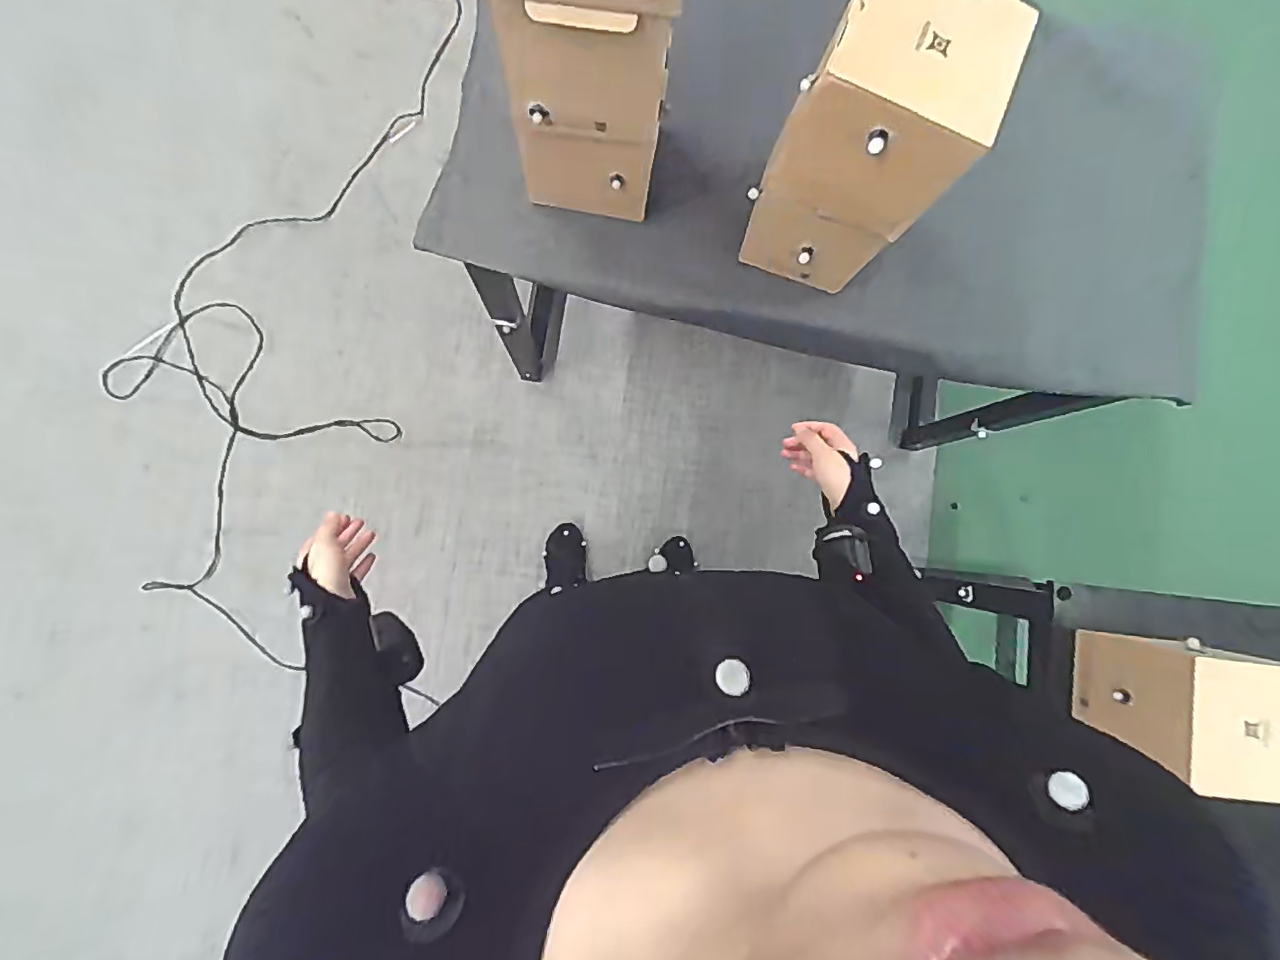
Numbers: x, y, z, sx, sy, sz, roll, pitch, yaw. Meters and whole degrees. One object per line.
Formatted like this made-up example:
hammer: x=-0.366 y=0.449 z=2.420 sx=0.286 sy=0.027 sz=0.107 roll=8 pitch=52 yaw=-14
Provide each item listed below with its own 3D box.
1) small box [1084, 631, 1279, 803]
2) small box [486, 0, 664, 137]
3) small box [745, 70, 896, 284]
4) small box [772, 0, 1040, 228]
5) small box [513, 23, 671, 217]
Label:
small box: x=0.747 y=0.306 z=0.726 sx=0.179 sy=0.176 sz=0.168 roll=8 pitch=86 yaw=-4
small box: x=-0.060 y=-0.506 z=0.576 sx=0.168 sy=0.176 sz=0.179 roll=3 pitch=82 yaw=-5
small box: x=0.258 y=-0.404 z=0.754 sx=0.168 sy=0.176 sz=0.179 roll=18 pitch=84 yaw=-2
small box: x=0.272 y=-0.411 z=0.591 sx=0.179 sy=0.176 sz=0.168 roll=23 pitch=83 yaw=-1
small box: x=-0.062 y=-0.490 z=0.740 sx=0.179 sy=0.176 sz=0.168 roll=7 pitch=83 yaw=-3
